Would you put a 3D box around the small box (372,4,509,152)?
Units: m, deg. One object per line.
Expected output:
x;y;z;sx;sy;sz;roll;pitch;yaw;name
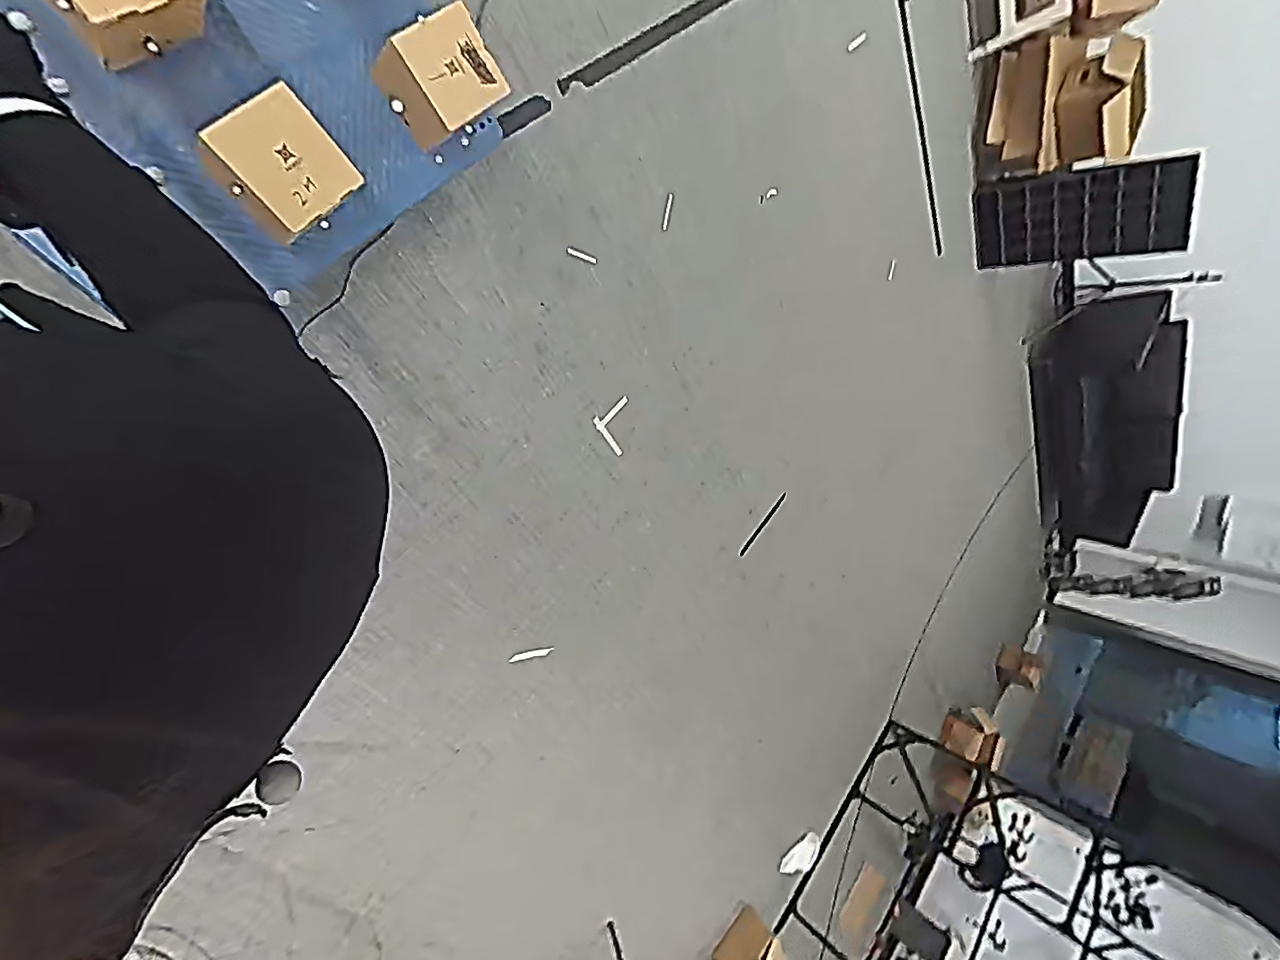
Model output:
-0.411;-0.811;1.104;0.179;0.176;0.168;-48;126;-19;small box

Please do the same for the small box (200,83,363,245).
-0.644;-0.552;0.970;0.168;0.176;0.179;-52;127;-19;small box

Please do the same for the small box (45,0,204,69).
-0.795;-0.759;0.794;0.168;0.176;0.179;-48;128;-22;small box
